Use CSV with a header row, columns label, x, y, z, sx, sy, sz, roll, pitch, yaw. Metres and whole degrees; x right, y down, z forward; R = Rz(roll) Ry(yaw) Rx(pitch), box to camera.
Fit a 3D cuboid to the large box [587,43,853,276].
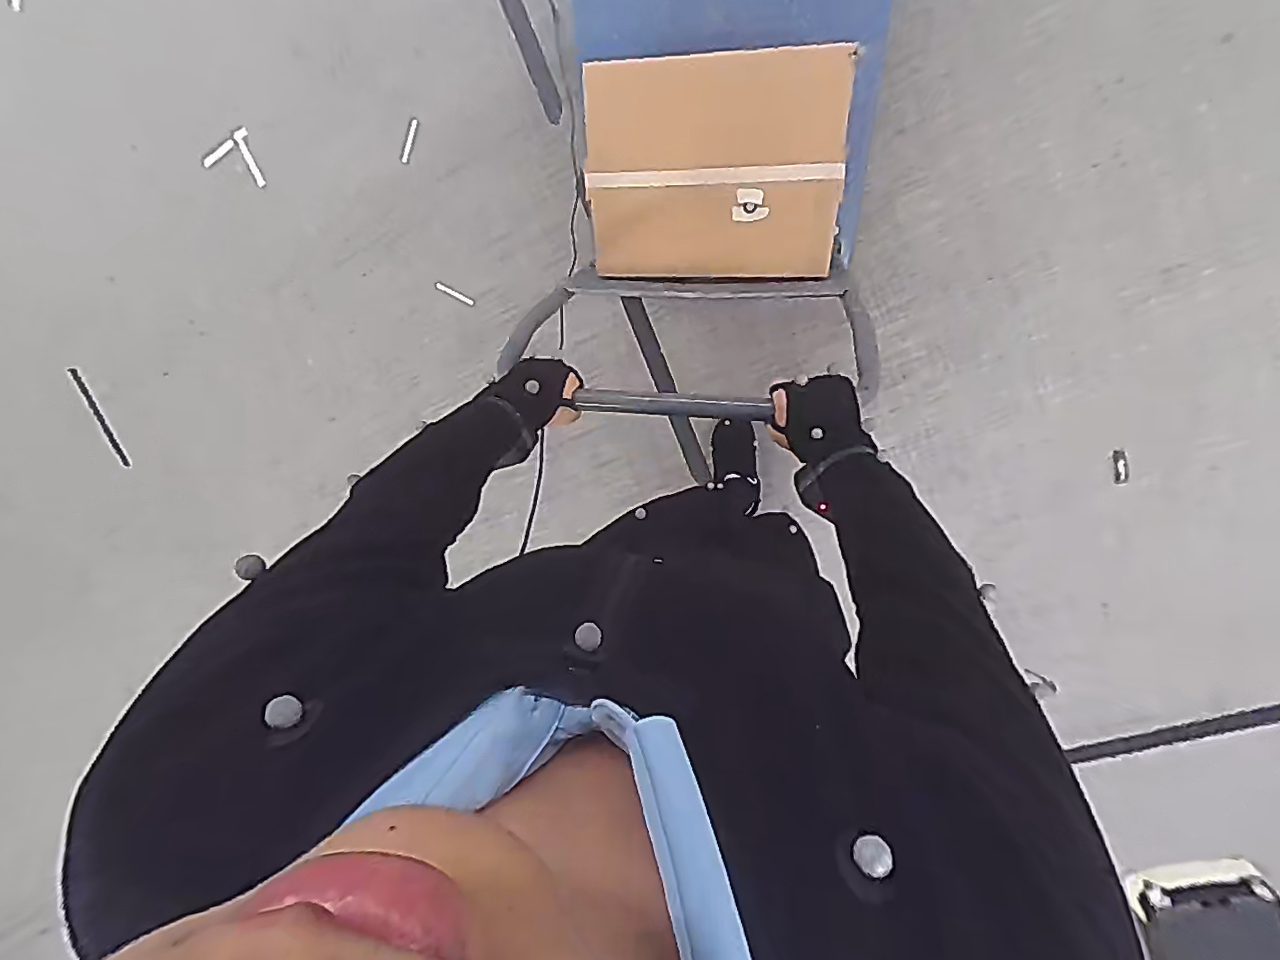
label,x,y,z,sx,sy,sz,roll,pitch,yaw
large box,0.144,-0.573,1.006,0.408,0.320,0.320,4,121,10
